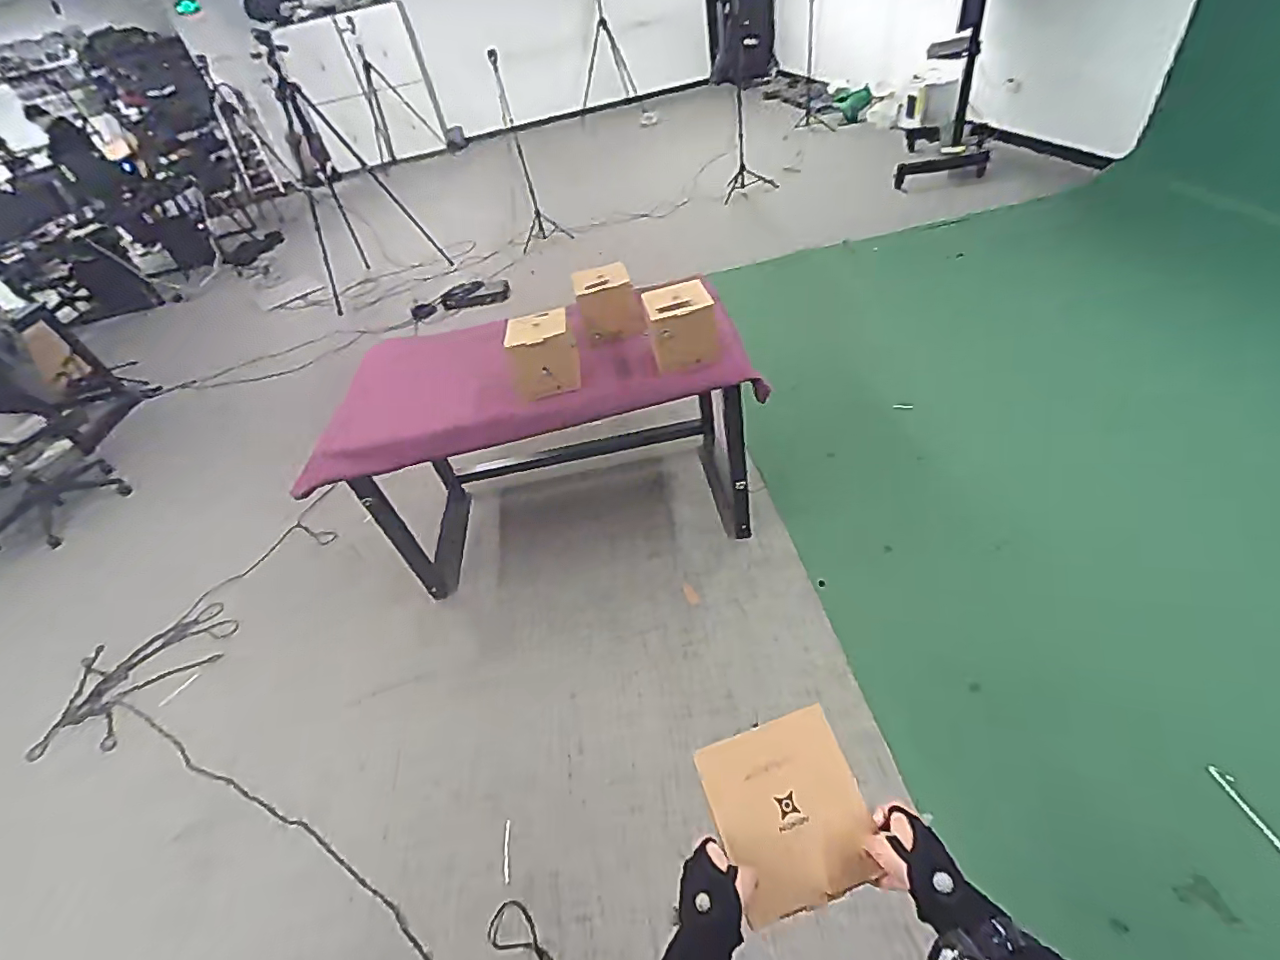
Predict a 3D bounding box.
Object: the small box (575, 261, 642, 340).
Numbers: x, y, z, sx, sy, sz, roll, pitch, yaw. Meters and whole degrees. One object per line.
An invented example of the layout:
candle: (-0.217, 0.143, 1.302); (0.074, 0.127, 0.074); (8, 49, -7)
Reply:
small box: (-0.096, -0.546, 1.664); (0.168, 0.176, 0.179); (-13, 41, 0)

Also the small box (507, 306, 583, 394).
small box: (-0.256, -0.353, 1.496); (0.168, 0.176, 0.179); (-11, 41, 2)

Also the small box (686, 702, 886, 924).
small box: (0.161, 0.390, 0.664); (0.168, 0.176, 0.179); (-17, 64, -5)
